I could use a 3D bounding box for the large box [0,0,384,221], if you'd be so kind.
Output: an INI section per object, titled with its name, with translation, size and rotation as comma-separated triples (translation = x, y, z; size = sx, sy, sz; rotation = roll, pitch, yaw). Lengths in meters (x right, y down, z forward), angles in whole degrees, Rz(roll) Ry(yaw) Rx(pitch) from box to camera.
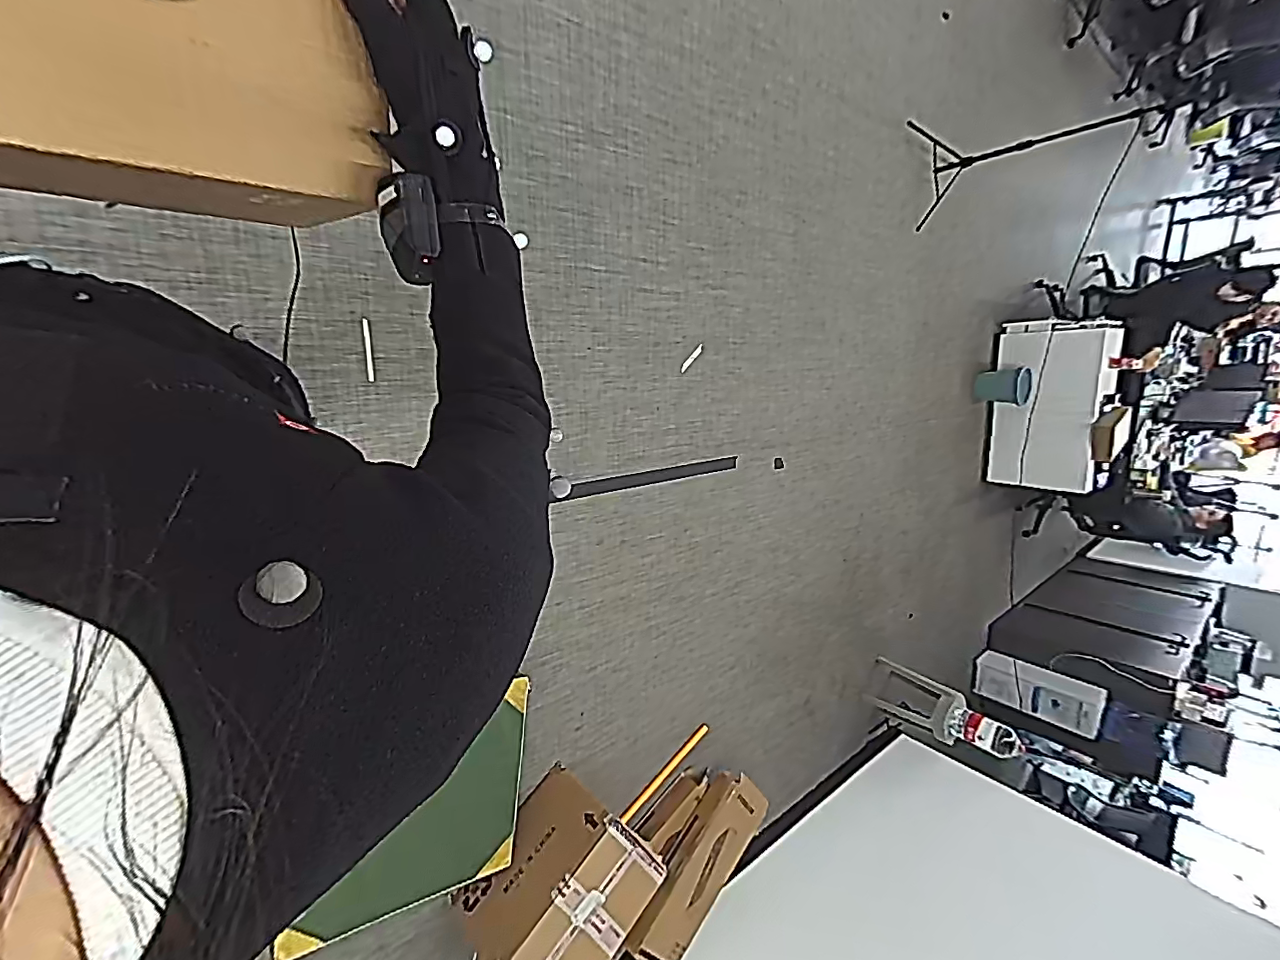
[large box]
translation = -0.442, -0.378, 0.365
size = 0.408, 0.320, 0.320
rotation = -11, 114, -39
